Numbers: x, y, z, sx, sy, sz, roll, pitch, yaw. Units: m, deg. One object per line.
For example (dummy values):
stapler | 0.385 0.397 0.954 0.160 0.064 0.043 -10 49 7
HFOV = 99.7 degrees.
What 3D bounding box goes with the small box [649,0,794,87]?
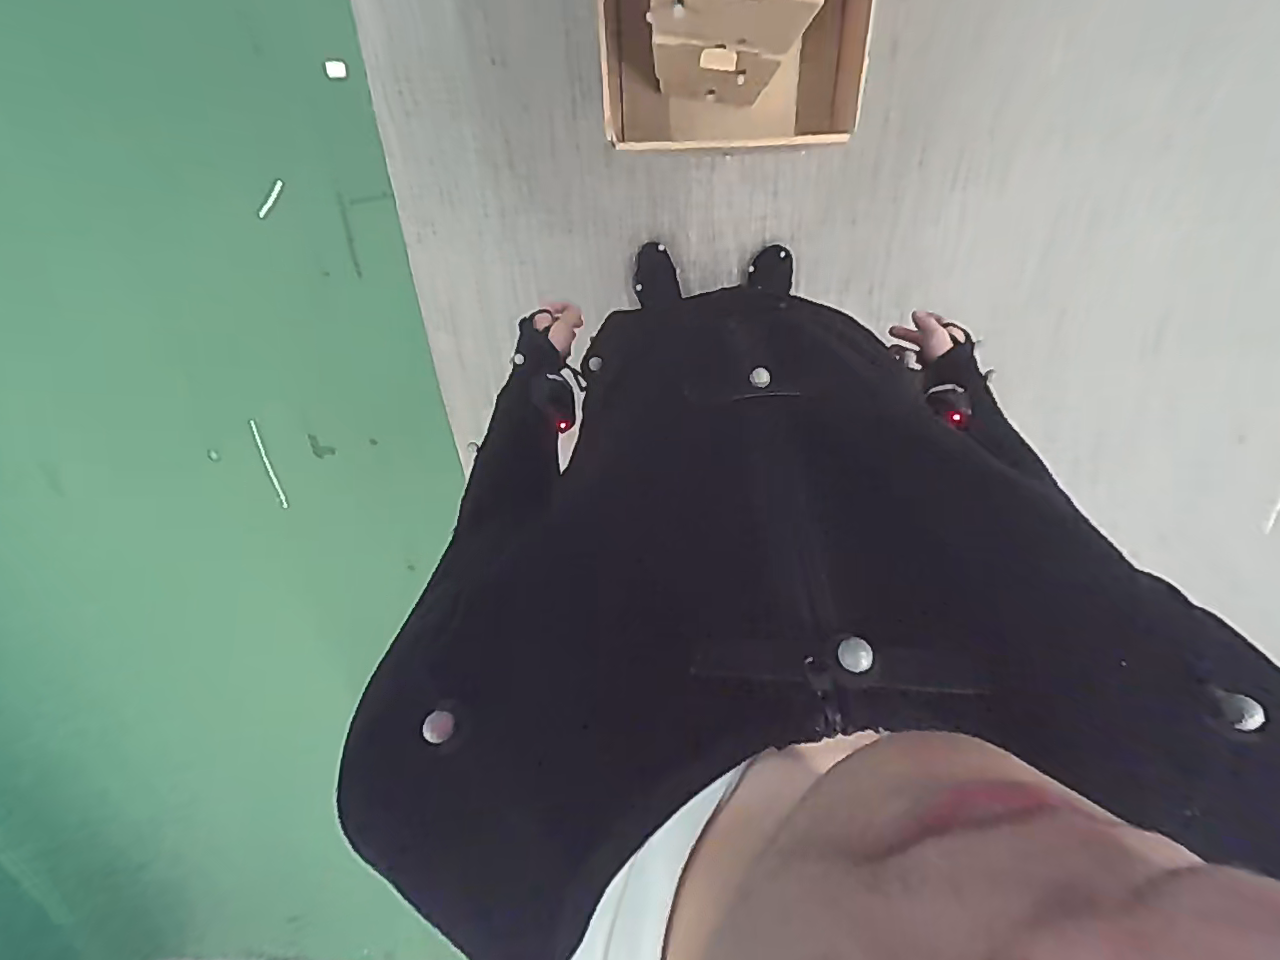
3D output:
small box | 0.108 -0.627 0.686 0.168 0.176 0.179 8 115 -1
